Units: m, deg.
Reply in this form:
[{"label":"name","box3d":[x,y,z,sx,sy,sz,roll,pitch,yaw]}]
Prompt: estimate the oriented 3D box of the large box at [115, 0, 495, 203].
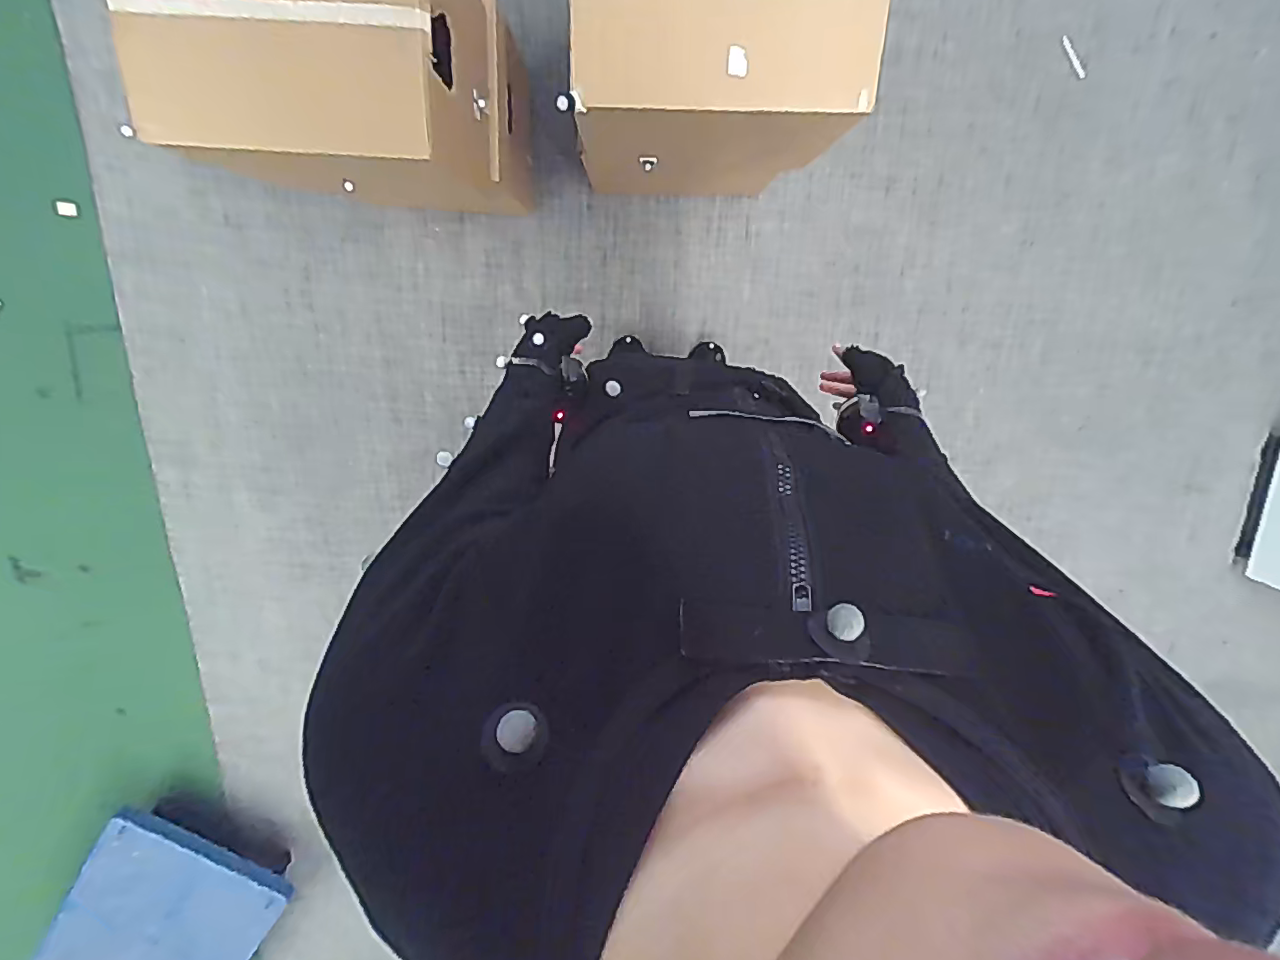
[{"label":"large box","box3d":[-0.469,-0.630,0.839,0.408,0.320,0.320,4,107,1]}]
